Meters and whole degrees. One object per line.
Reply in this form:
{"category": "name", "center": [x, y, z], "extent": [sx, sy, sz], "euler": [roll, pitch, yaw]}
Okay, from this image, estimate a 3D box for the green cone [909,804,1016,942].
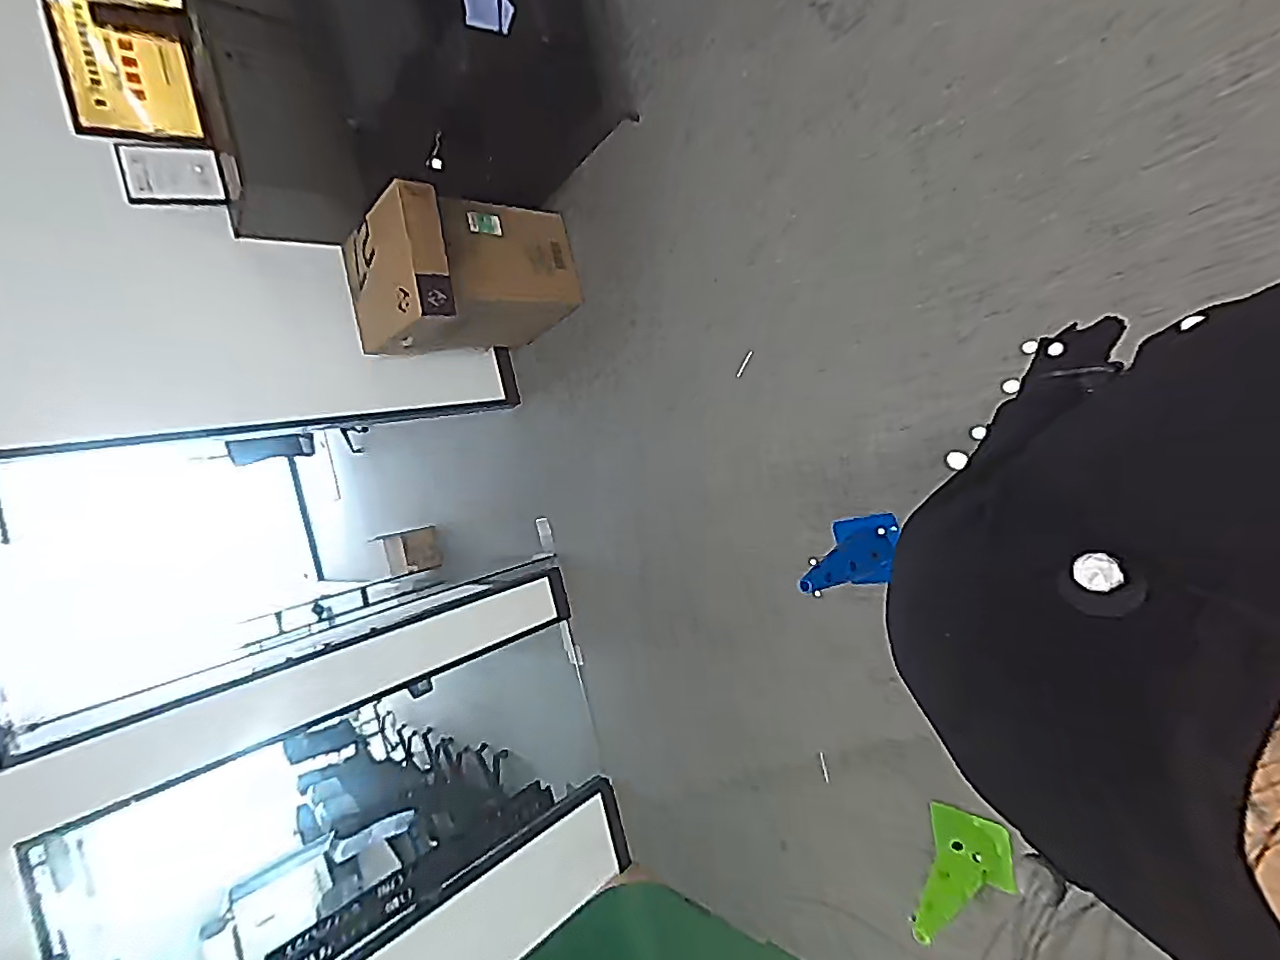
{"category": "green cone", "center": [0.798, 1.057, 1.399], "extent": [0.200, 0.368, 0.202], "euler": [-7, 94, 50]}
